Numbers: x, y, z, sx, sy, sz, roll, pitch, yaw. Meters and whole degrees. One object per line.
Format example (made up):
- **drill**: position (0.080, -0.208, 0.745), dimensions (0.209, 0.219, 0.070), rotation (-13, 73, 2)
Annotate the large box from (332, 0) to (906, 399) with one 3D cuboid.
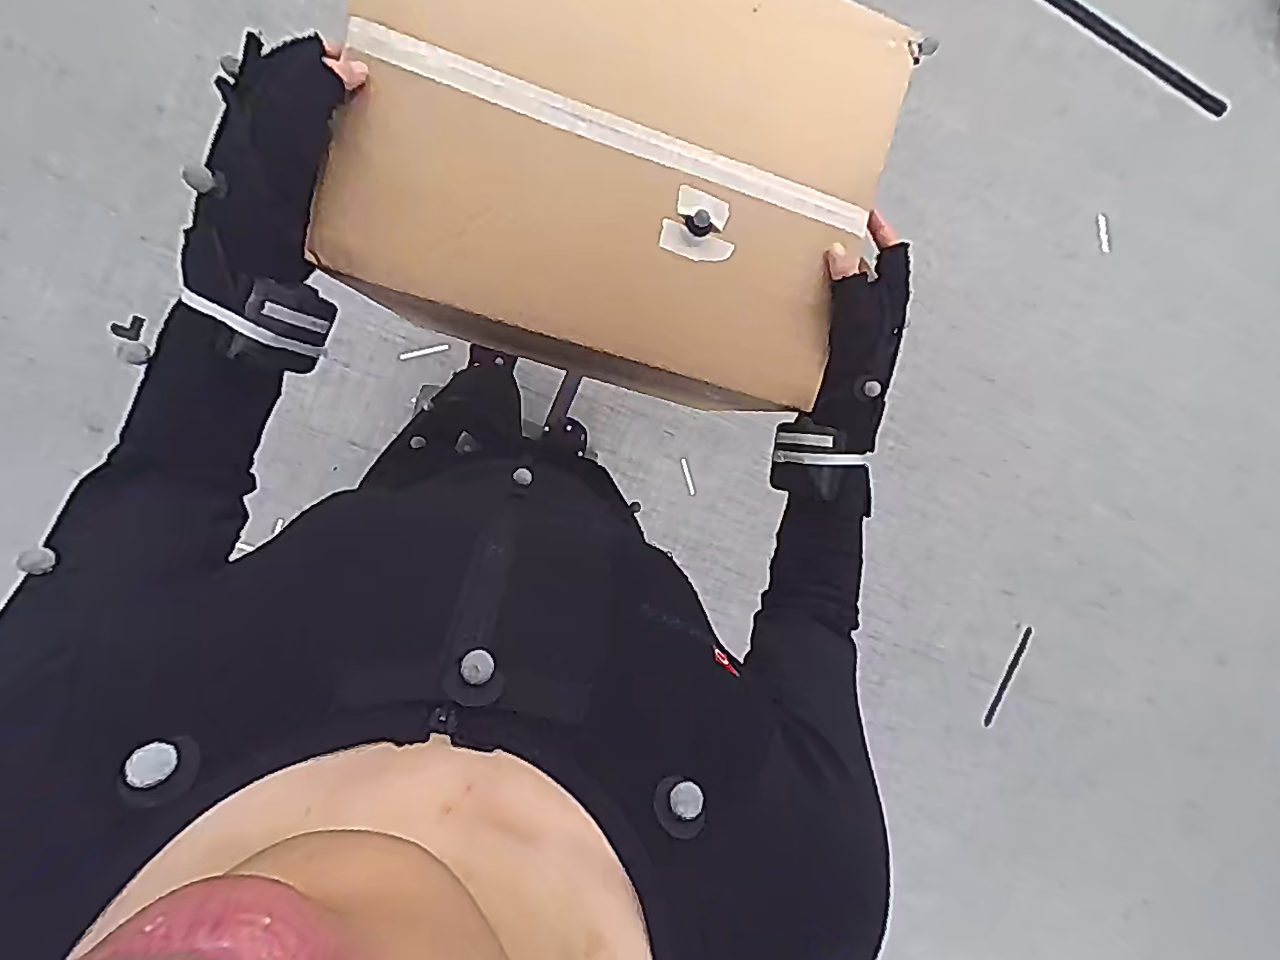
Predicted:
- **large box**: position (-0.029, -0.285, 0.567), dimensions (0.408, 0.320, 0.320), rotation (14, 95, -11)
